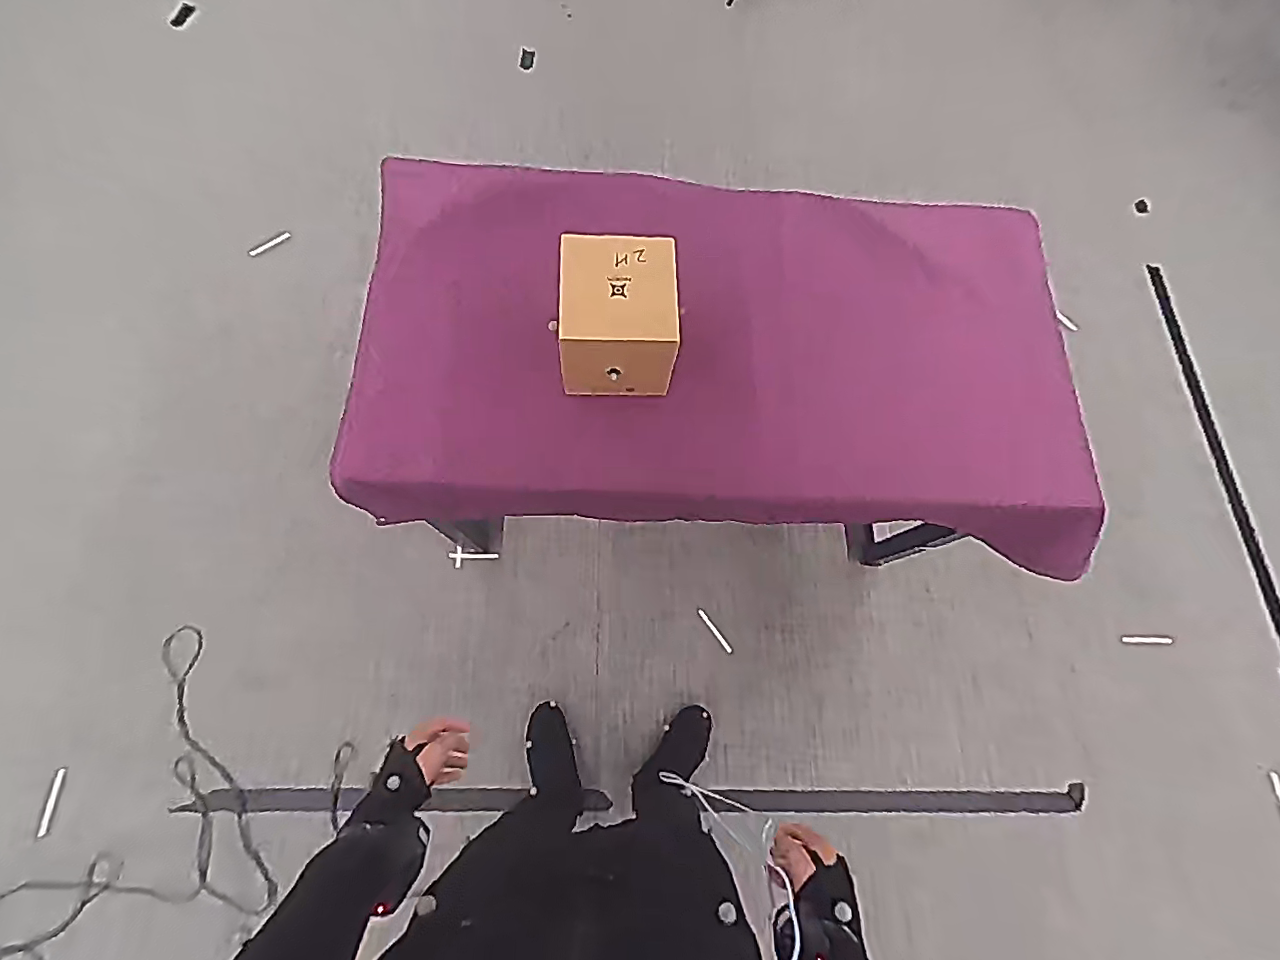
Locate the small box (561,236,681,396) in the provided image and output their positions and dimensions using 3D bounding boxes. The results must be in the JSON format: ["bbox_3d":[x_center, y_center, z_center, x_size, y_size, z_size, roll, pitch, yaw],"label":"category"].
[{"bbox_3d":[-0.029,-0.240,0.823,0.168,0.176,0.179,1,72,-4],"label":"small box"}]
